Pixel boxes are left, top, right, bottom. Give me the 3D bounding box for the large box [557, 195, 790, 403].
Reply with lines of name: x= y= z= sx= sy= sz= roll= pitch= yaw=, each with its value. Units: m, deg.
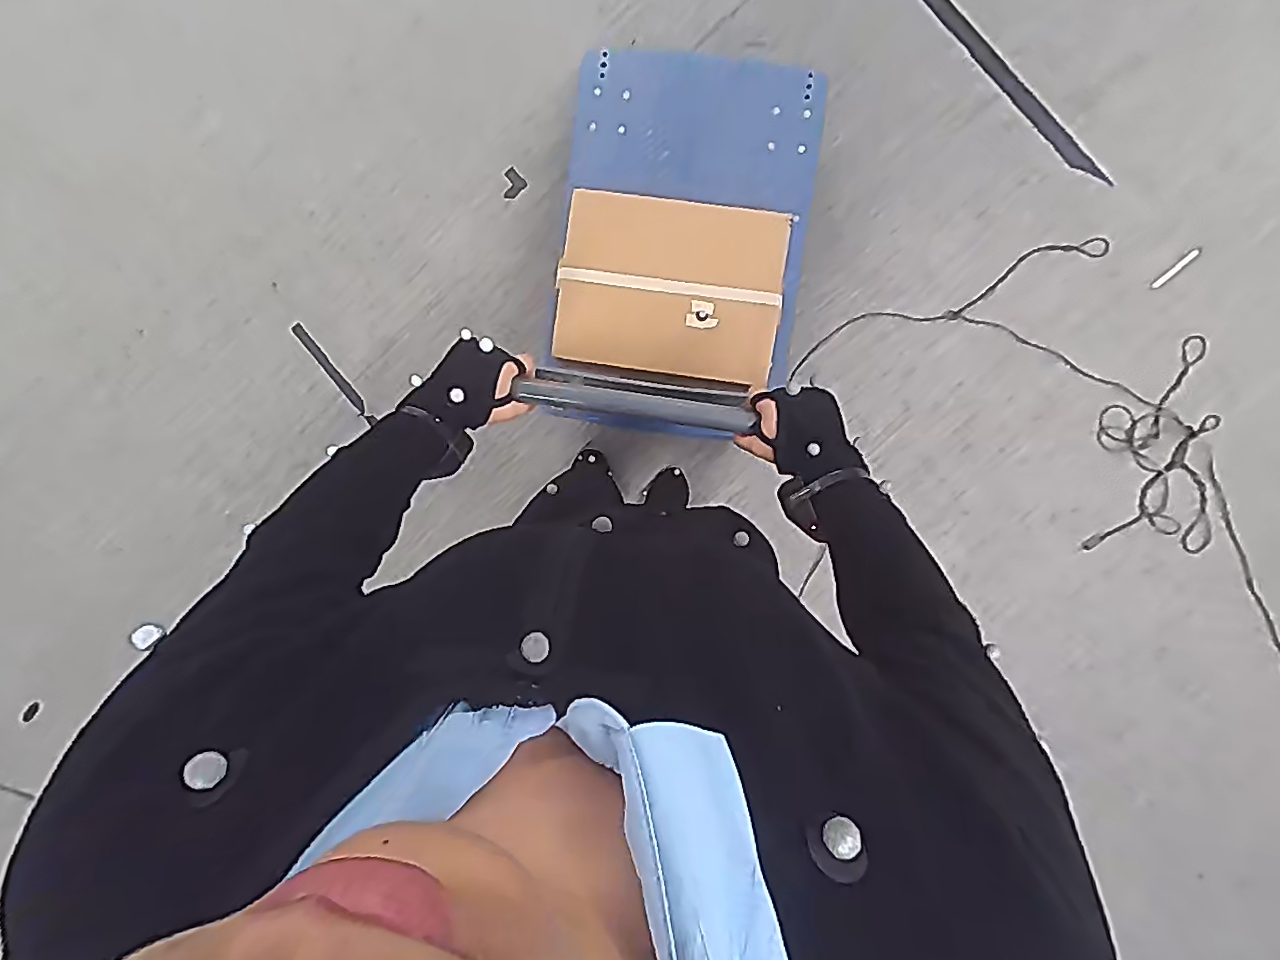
large box: x=0.062 y=-0.354 z=1.142 sx=0.408 sy=0.320 sz=0.320 roll=8 pitch=93 yaw=2
